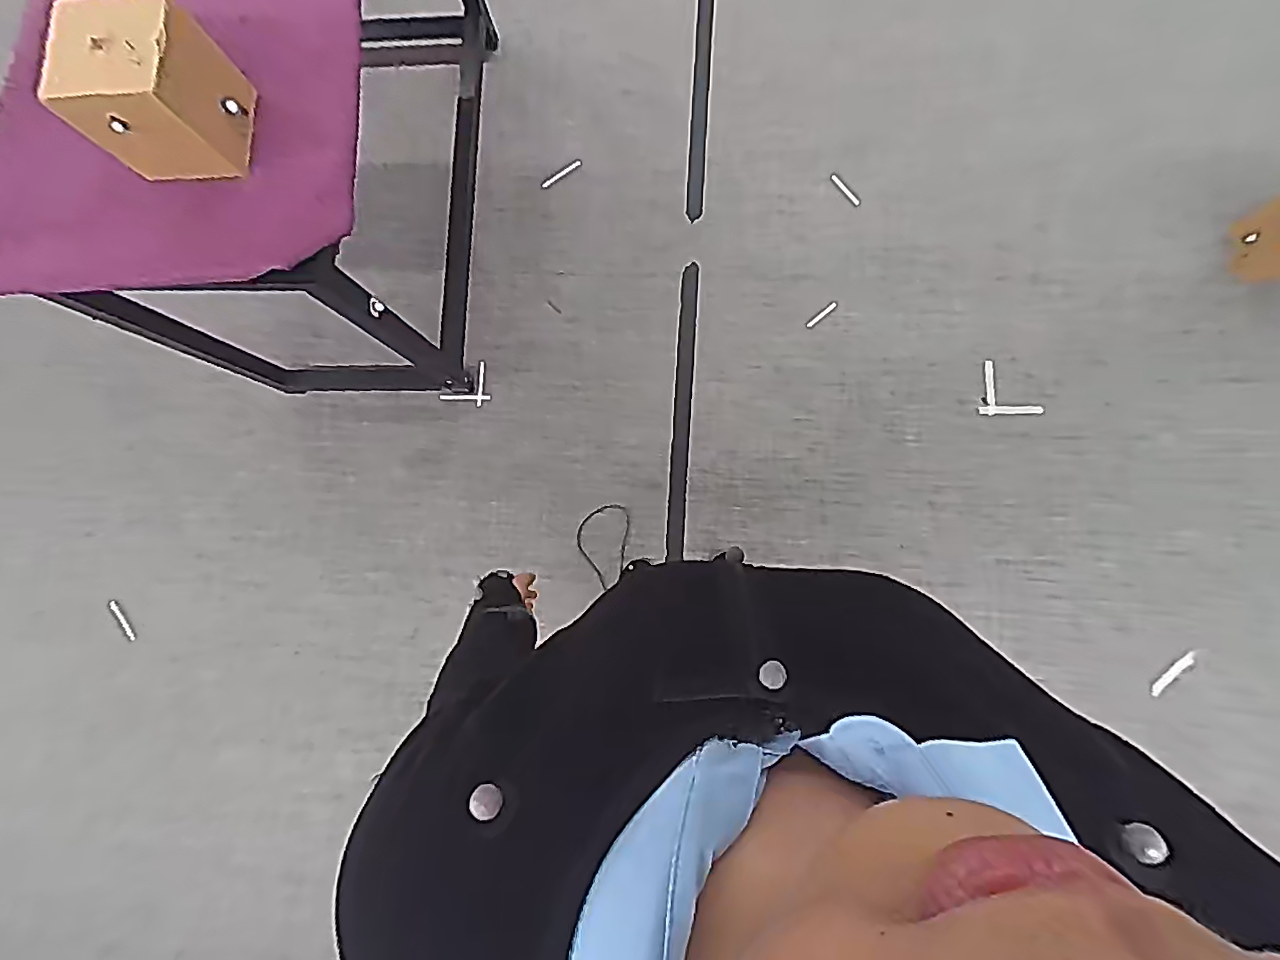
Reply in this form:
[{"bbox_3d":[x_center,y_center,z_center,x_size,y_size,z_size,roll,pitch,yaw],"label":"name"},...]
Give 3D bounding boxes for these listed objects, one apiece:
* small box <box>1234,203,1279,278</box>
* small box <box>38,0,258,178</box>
[{"bbox_3d":[1.762,-0.654,1.434,0.179,0.176,0.168,-3,83,3],"label":"small box"},{"bbox_3d":[-0.740,-0.594,0.832,0.179,0.176,0.168,-1,82,3],"label":"small box"}]
